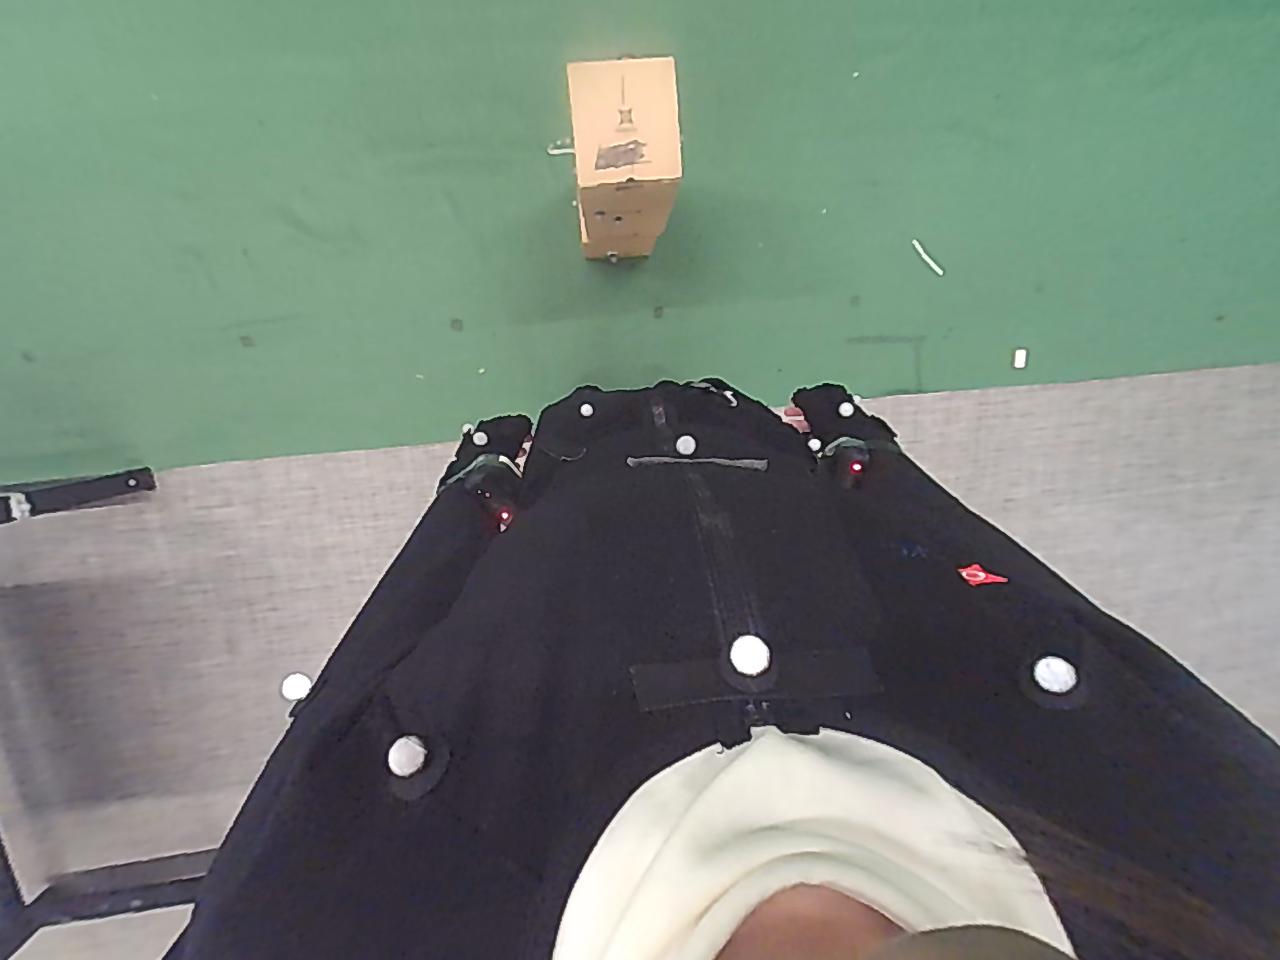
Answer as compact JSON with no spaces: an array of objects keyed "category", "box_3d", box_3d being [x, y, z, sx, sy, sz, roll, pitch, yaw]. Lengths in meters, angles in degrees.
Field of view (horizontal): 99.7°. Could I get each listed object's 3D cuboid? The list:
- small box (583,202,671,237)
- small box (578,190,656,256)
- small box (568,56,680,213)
[{"category":"small box","box_3d":[-0.034,-0.595,1.069,0.168,0.176,0.179,-5,100,-2]},{"category":"small box","box_3d":[-0.053,-0.615,1.212,0.168,0.176,0.179,-2,101,-2]},{"category":"small box","box_3d":[-0.026,-0.564,0.908,0.168,0.176,0.179,-5,100,-3]}]
